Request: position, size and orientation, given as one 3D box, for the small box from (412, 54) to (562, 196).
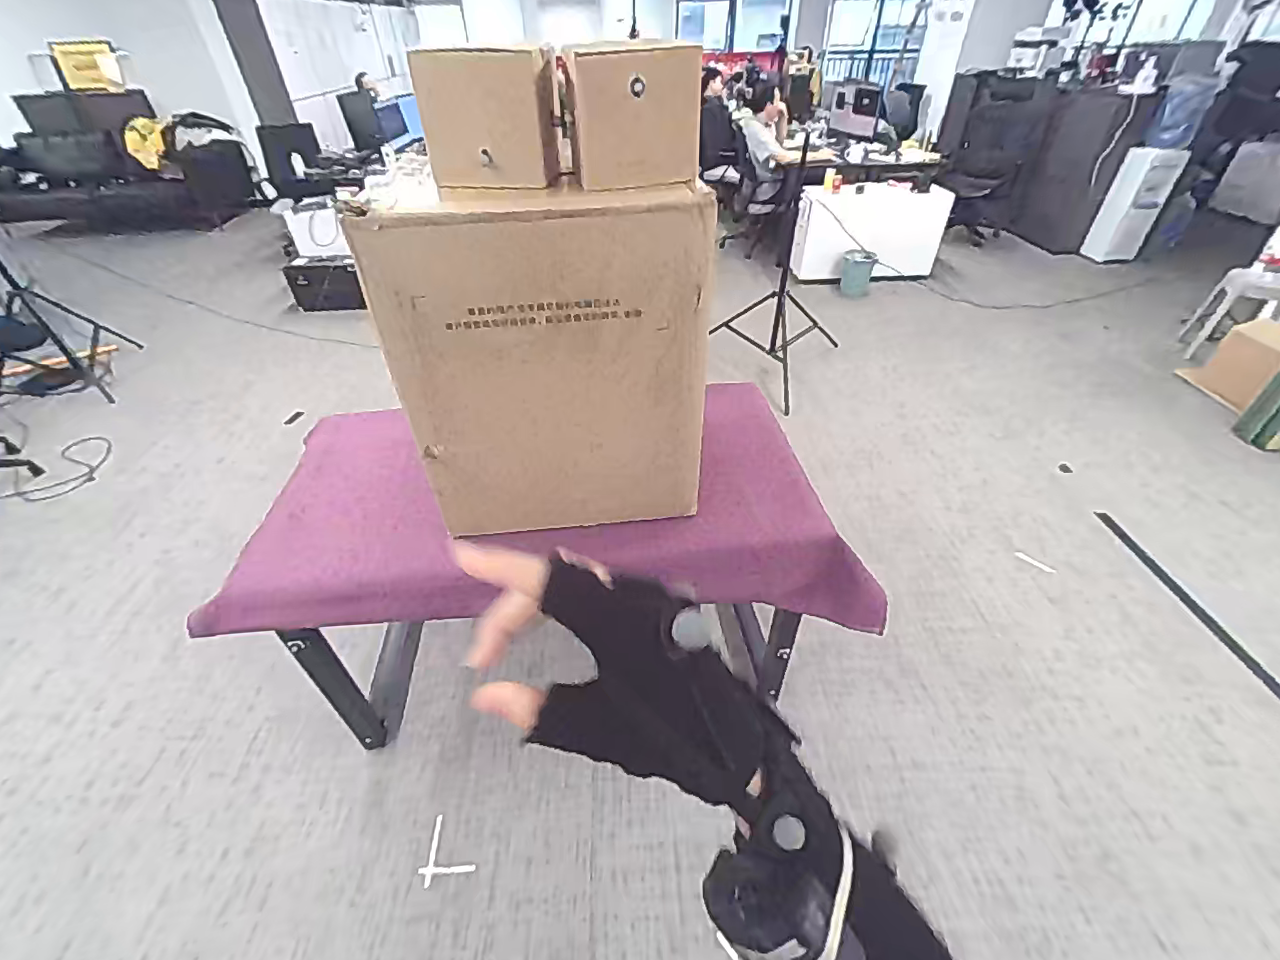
[{"bbox_3d":[-0.222,-0.552,0.844,0.179,0.176,0.168,3,40,2],"label":"small box"}]
